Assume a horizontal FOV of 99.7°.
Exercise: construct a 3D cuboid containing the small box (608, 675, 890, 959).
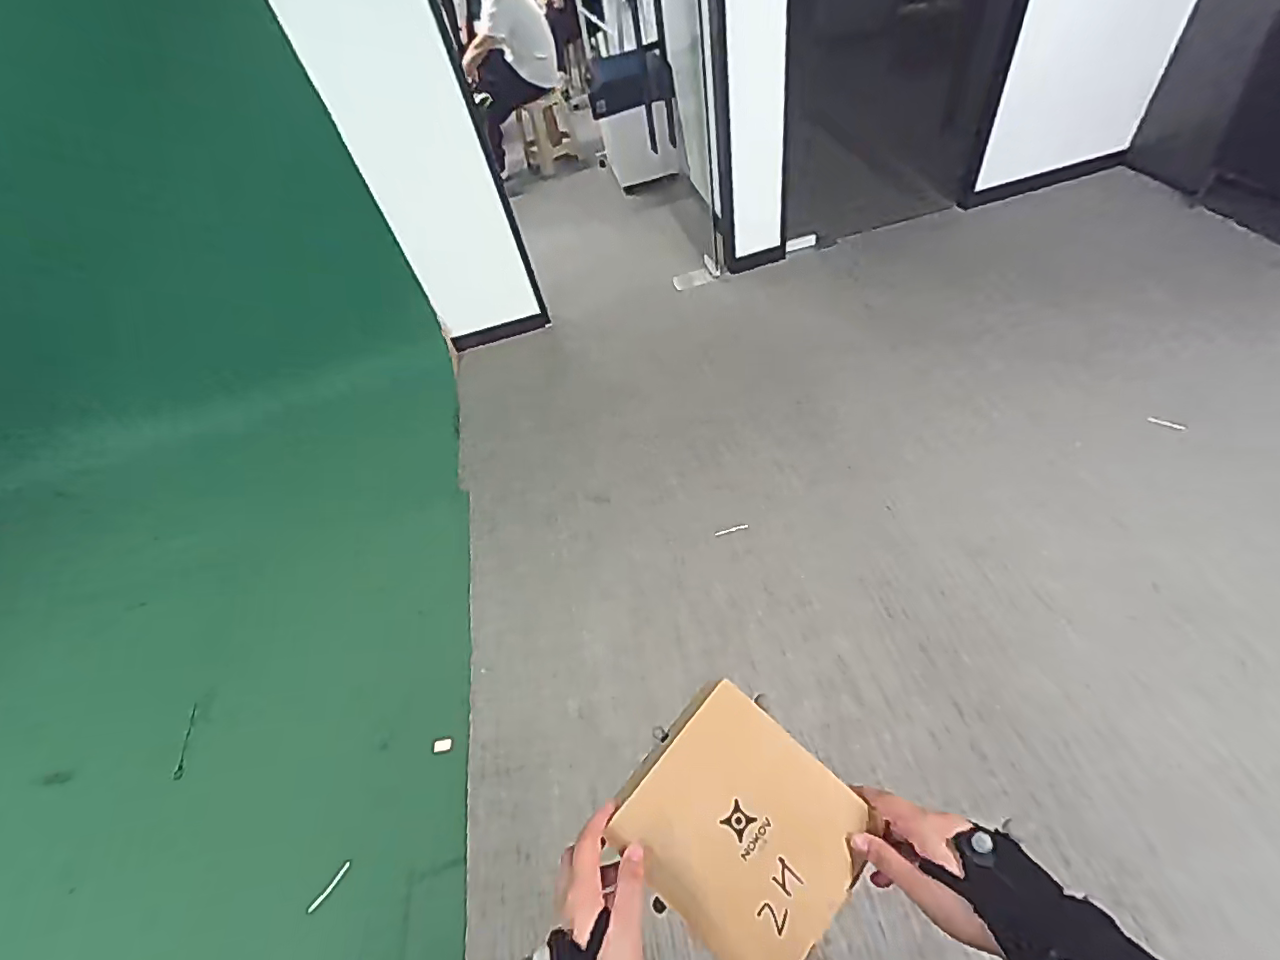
[{"bbox_3d":[0.089,0.315,0.516,0.179,0.176,0.168,40,73,15],"label":"small box"}]
